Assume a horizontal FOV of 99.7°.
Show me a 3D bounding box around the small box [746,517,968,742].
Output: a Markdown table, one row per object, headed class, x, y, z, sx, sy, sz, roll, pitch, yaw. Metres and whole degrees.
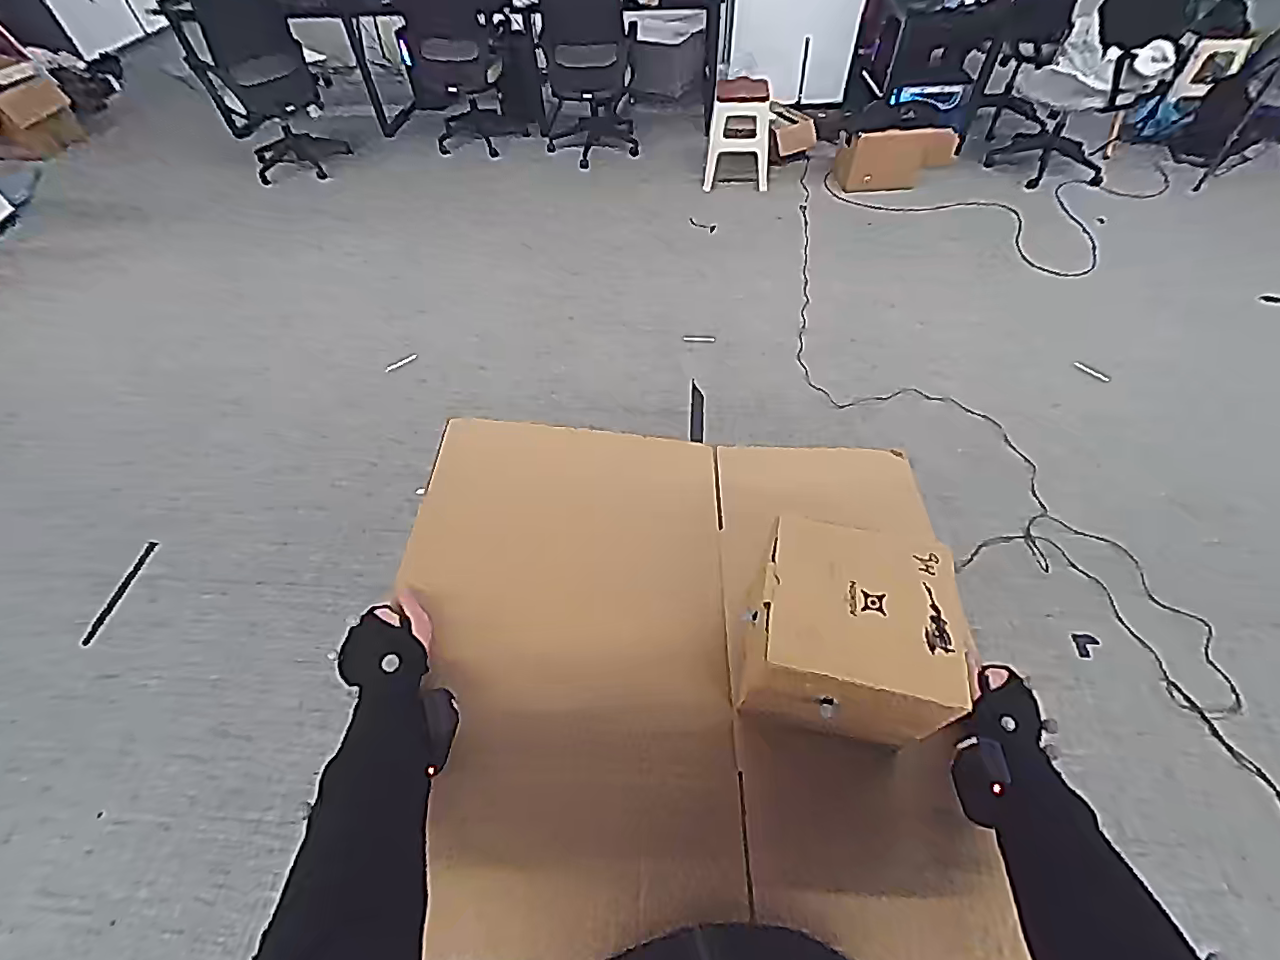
| class | x | y | z | sx | sy | sz | roll | pitch | yaw |
| --- | --- | --- | --- | --- | --- | --- | --- | --- | --- |
| small box | 0.217 | 0.165 | 0.584 | 0.179 | 0.176 | 0.168 | 10 | 53 | 9 |
